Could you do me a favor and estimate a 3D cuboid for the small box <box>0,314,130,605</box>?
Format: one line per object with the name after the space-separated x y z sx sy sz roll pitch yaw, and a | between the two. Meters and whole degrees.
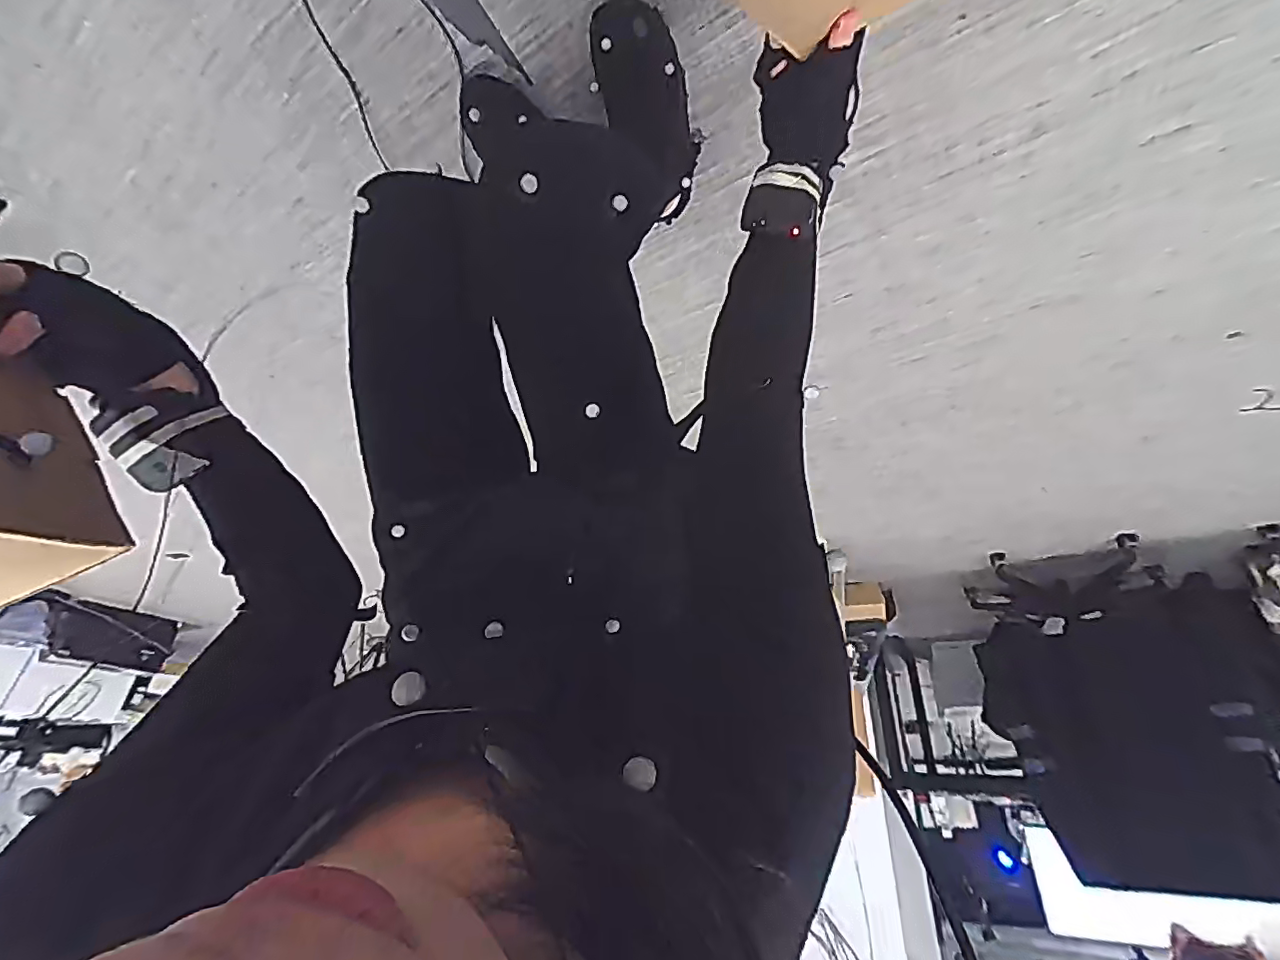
-0.388 -0.007 0.219 0.179 0.168 0.176 -29 177 -22 | small box
